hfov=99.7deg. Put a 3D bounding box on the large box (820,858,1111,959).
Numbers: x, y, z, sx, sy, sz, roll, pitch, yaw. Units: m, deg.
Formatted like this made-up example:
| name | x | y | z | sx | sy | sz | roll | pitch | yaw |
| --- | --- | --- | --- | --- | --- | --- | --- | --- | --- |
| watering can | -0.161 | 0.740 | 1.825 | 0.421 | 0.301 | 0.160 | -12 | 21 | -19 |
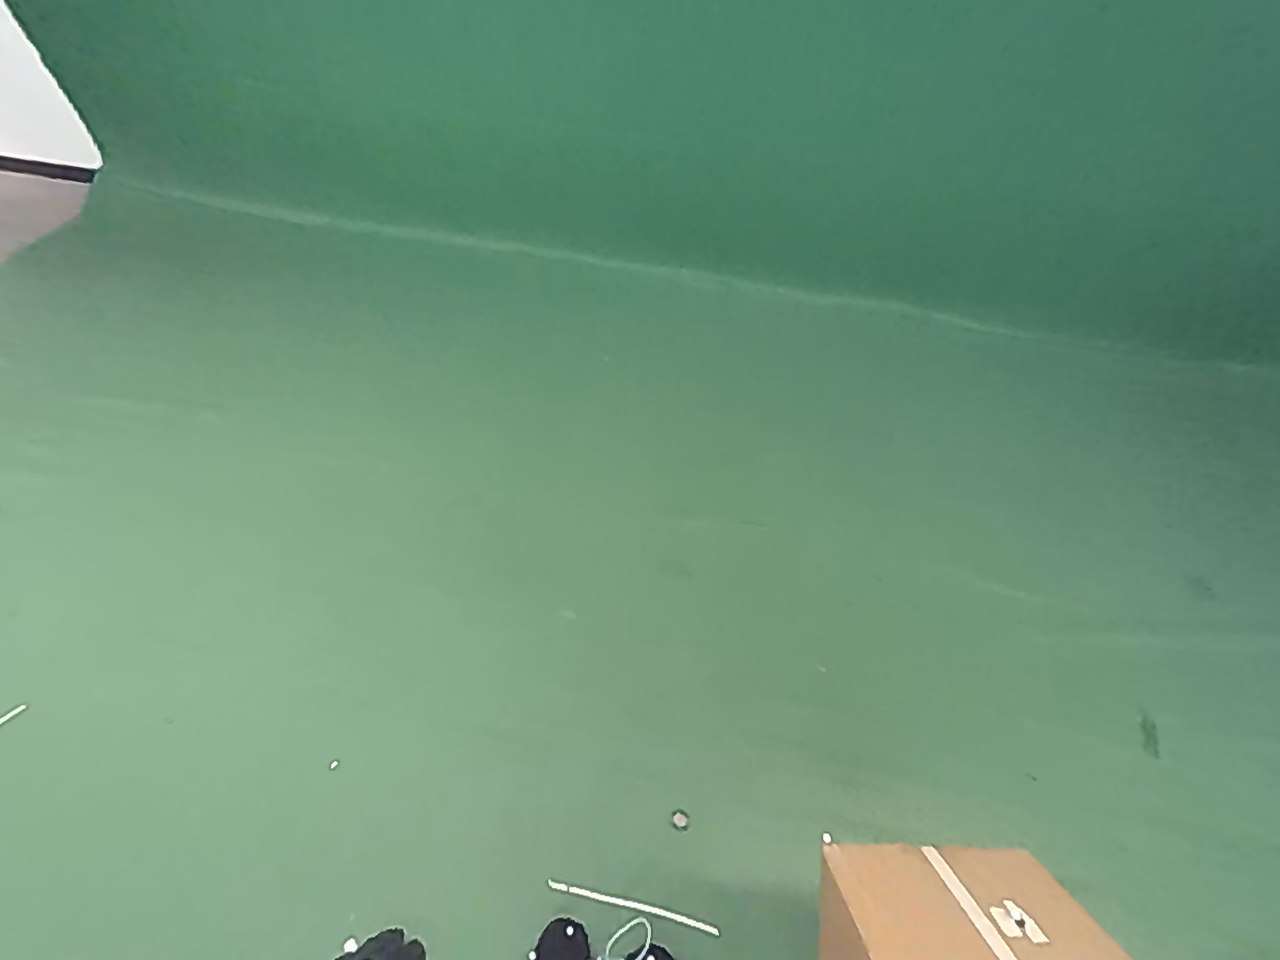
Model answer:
| name | x | y | z | sx | sy | sz | roll | pitch | yaw |
| --- | --- | --- | --- | --- | --- | --- | --- | --- | --- |
| large box | 0.422 | 0.732 | 0.621 | 0.320 | 0.408 | 0.320 | 3 | 91 | 0 |
